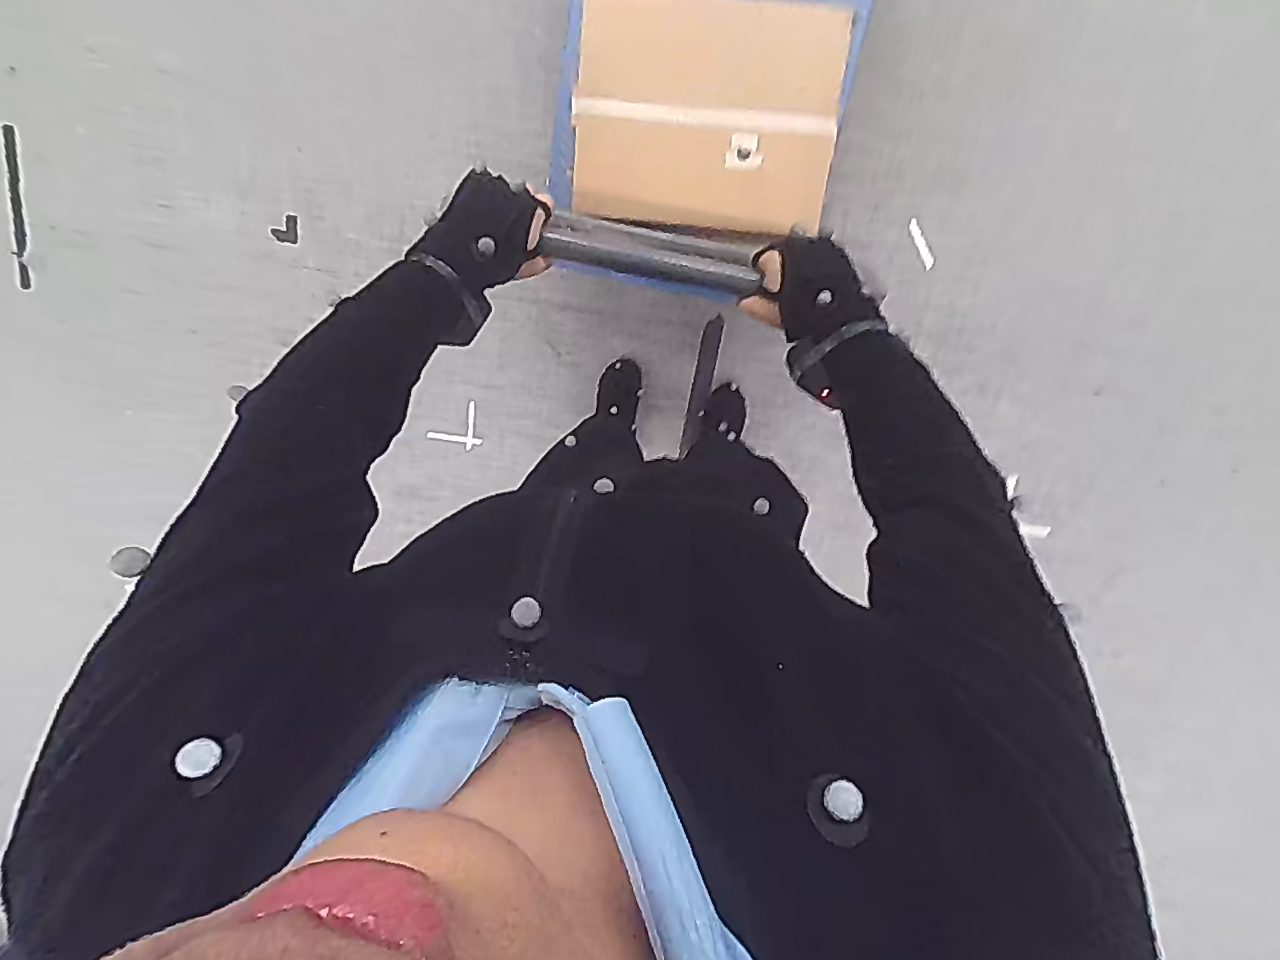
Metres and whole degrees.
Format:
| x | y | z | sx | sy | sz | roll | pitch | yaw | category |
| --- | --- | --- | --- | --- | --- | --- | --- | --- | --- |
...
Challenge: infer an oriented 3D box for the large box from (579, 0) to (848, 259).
| x | y | z | sx | sy | sz | roll | pitch | yaw | category |
| --- | --- | --- | --- | --- | --- | --- | --- | --- | --- |
| 0.111 | -0.607 | 1.003 | 0.408 | 0.320 | 0.320 | 6 | 107 | 1 | large box |
